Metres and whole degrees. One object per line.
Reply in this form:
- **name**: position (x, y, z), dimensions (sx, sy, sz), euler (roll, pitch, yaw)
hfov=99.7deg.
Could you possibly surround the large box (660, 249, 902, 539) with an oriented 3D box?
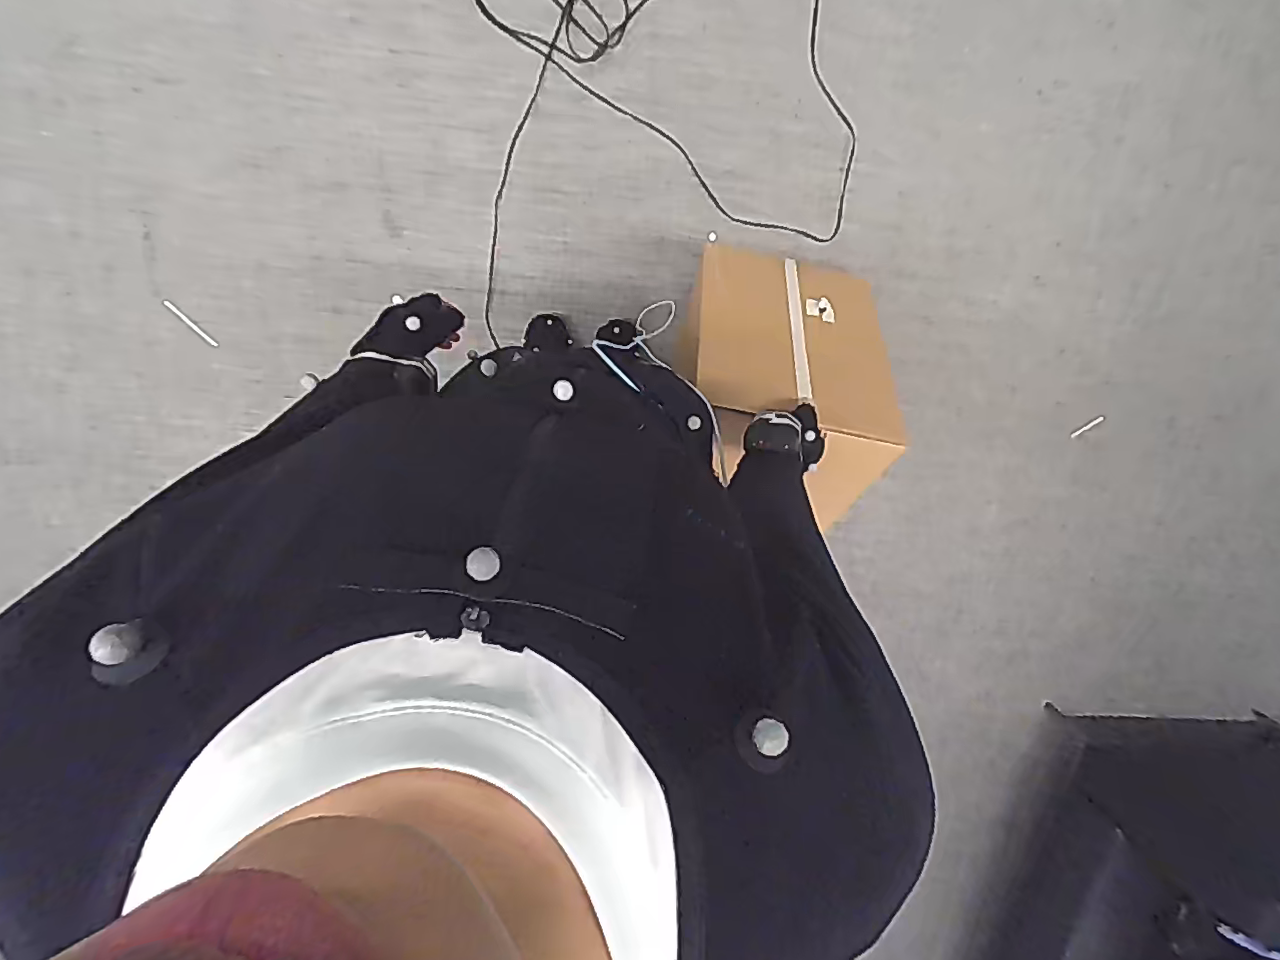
- **large box**: position (0.223, -0.150, 1.003), dimensions (0.320, 0.408, 0.320), euler (11, 144, -6)
